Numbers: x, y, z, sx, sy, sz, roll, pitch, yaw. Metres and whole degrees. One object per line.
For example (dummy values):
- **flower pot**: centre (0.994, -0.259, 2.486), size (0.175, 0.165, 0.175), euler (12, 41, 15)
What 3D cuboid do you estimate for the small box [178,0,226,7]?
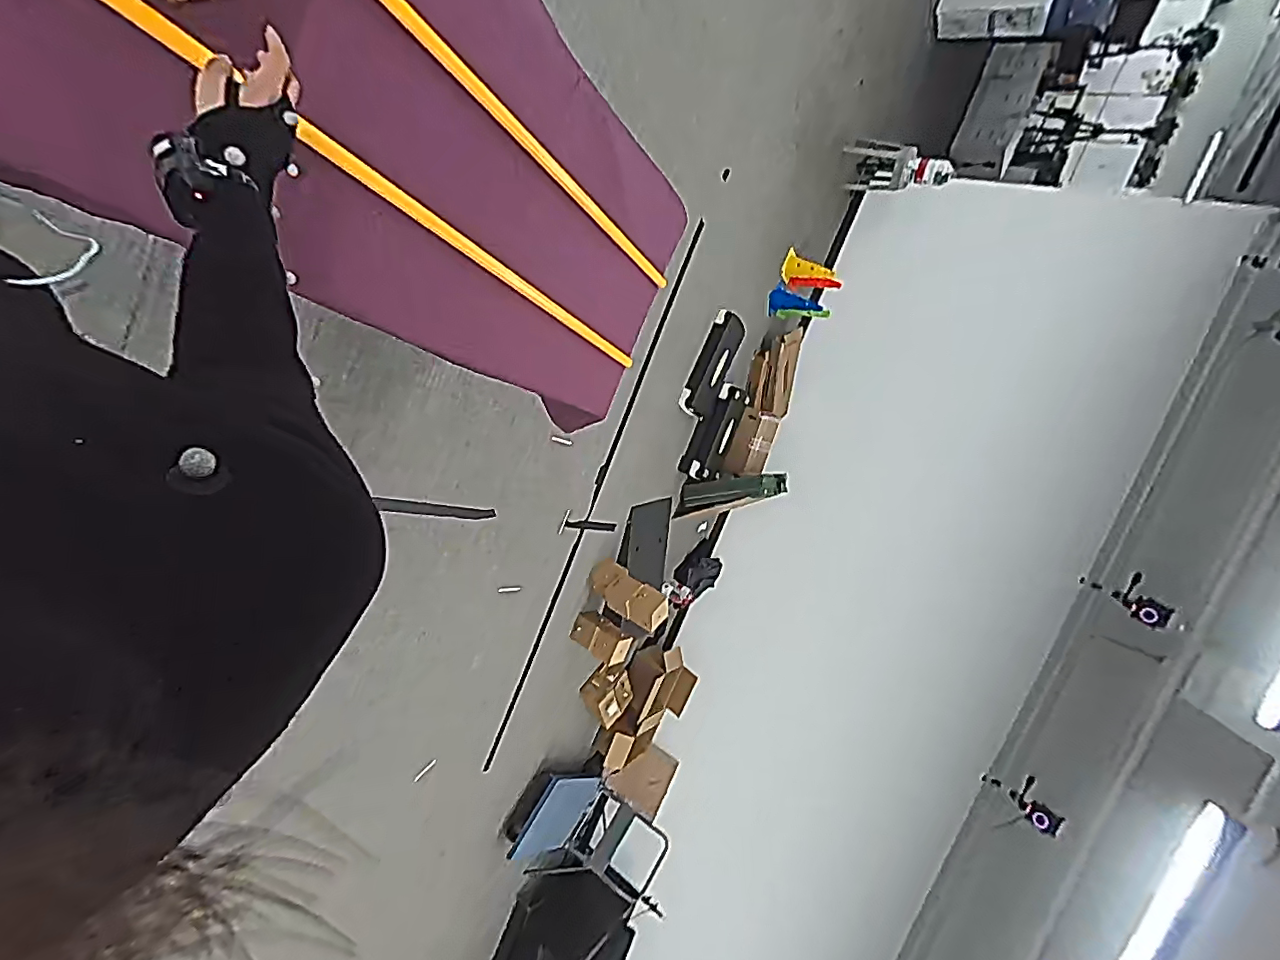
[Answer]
- **small box**: centre (-0.492, -0.589, 0.495), size (0.179, 0.176, 0.168), euler (9, 105, -61)
